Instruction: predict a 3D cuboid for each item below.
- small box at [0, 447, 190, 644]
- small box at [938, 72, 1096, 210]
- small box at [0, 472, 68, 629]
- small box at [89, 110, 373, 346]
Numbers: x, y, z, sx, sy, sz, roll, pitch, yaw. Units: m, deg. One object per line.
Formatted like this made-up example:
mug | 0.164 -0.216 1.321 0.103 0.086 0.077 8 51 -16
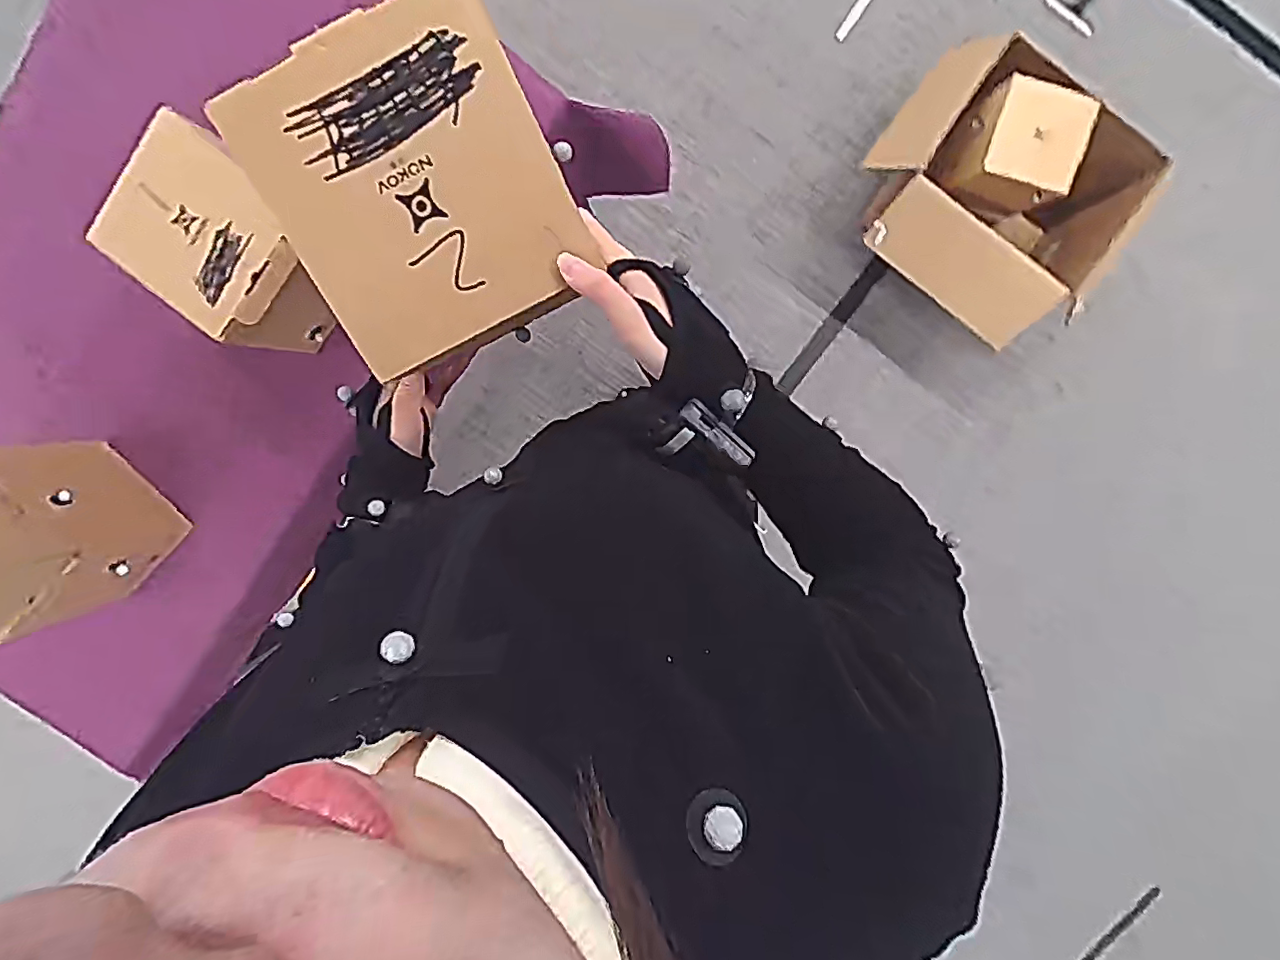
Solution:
small box | -0.765 0.072 0.712 0.168 0.176 0.179 -42 95 7
small box | 0.744 -0.669 1.091 0.179 0.176 0.168 13 101 -4
small box | -0.768 0.091 0.549 0.179 0.176 0.168 -41 96 6
small box | -0.464 -0.276 0.645 0.179 0.176 0.168 39 98 -3
